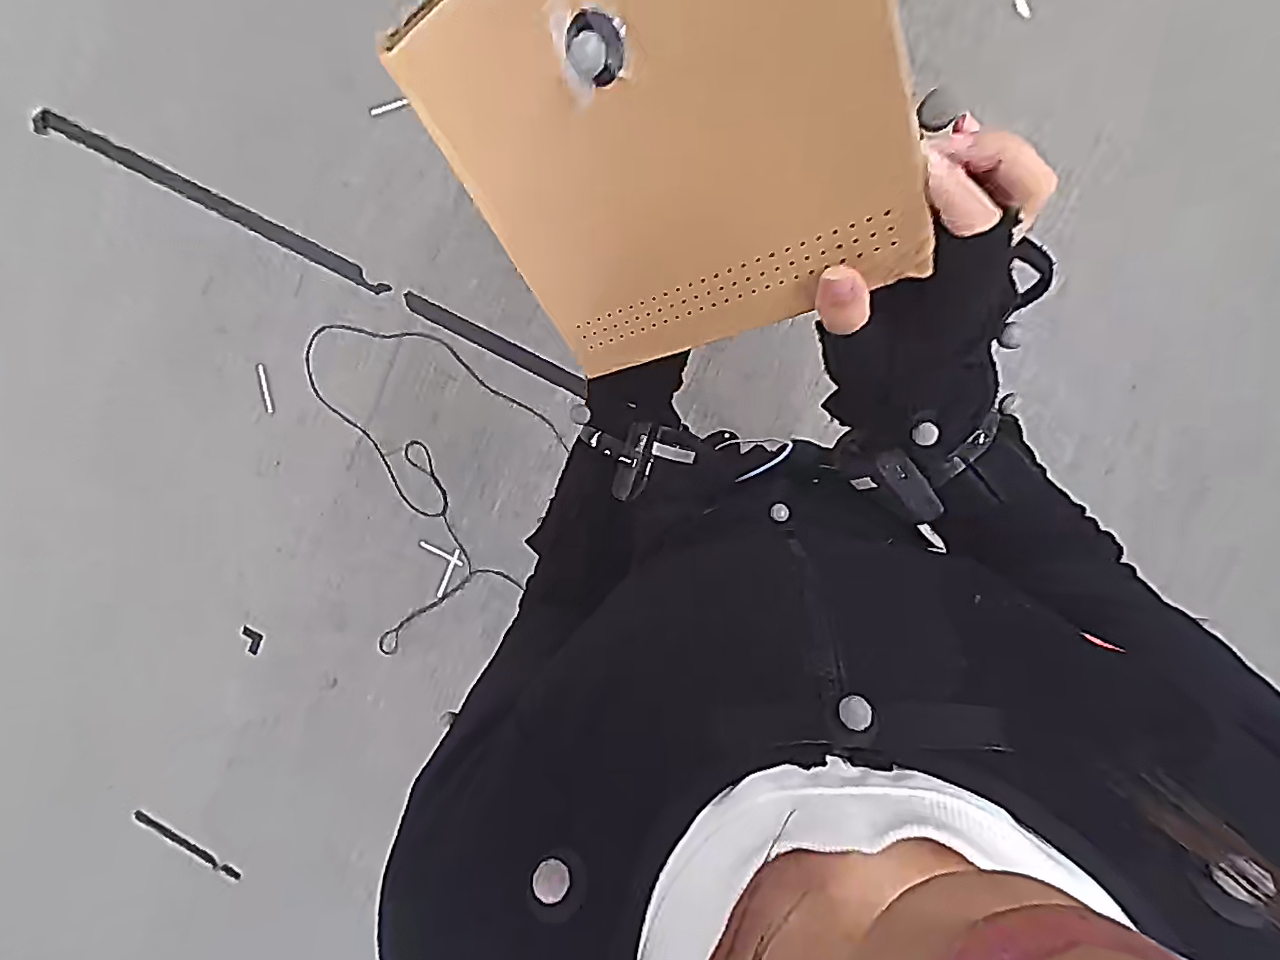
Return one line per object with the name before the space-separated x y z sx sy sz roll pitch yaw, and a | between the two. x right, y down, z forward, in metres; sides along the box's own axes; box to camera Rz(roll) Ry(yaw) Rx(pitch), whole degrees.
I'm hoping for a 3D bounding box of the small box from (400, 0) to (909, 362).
small box | 0.027 -0.186 0.283 0.179 0.168 0.176 -10 133 32
